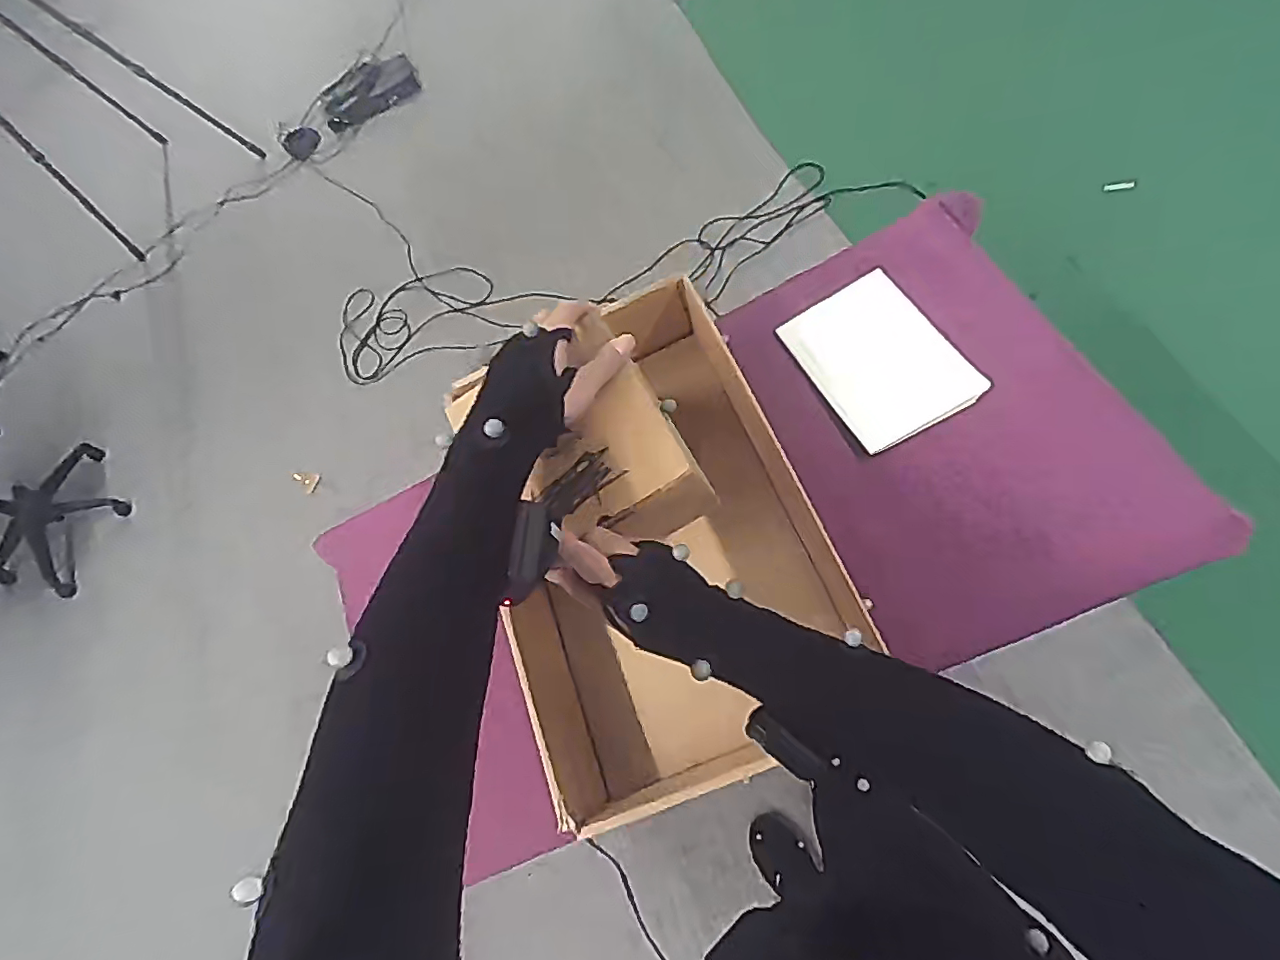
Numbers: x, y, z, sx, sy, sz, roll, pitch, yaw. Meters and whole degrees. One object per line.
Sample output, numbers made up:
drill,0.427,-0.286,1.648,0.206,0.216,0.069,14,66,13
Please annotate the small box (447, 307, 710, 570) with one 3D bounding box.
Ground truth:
small box,-0.048,-0.024,0.531,0.168,0.176,0.179,-32,70,7
